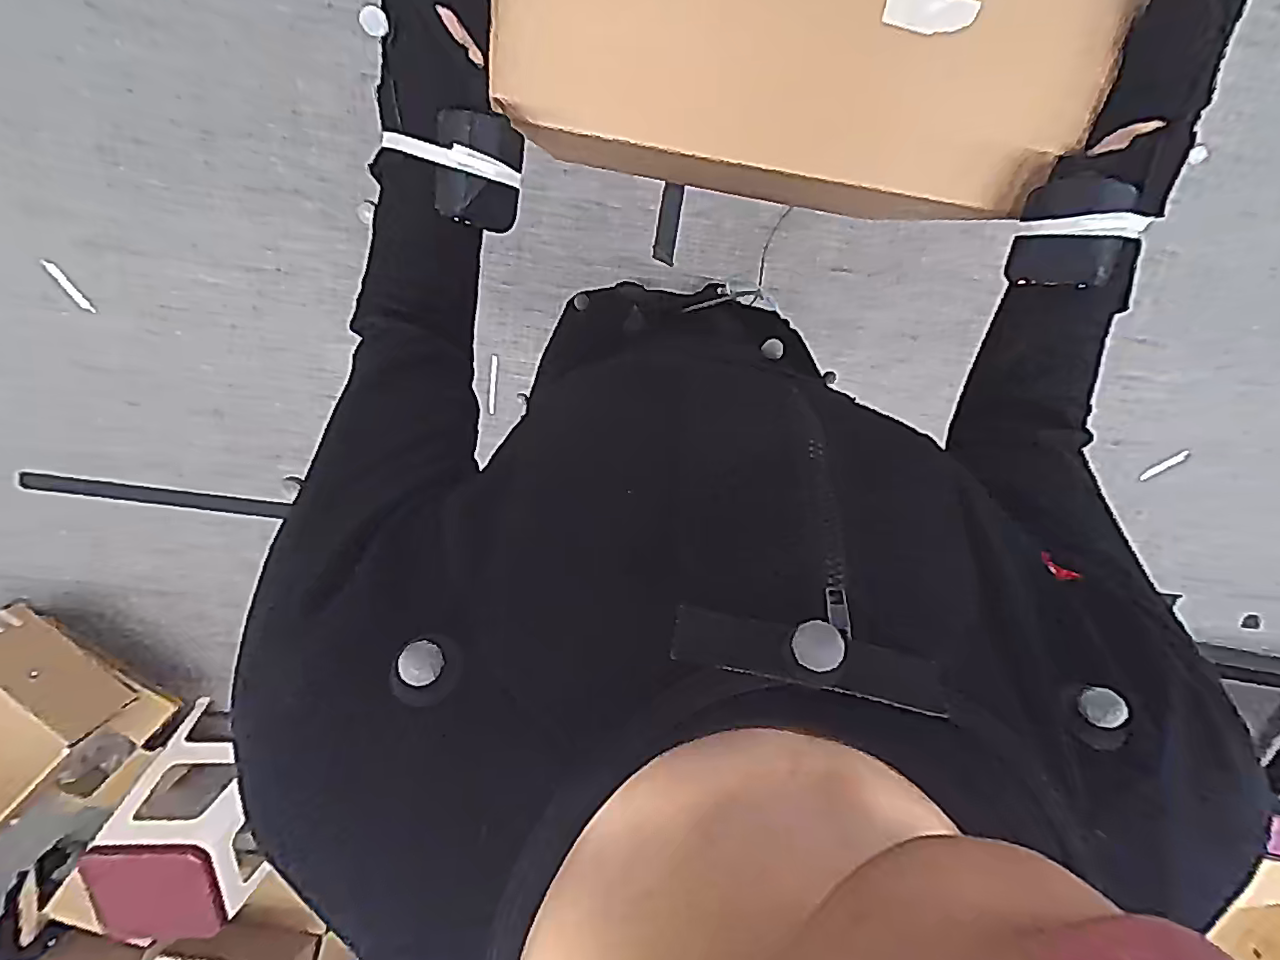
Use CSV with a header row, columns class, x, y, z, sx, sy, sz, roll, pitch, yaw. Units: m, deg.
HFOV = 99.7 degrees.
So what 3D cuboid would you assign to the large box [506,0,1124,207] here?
class,x,y,z,sx,sy,sz,roll,pitch,yaw
large box,0.118,-0.430,0.454,0.408,0.320,0.320,7,117,-6
